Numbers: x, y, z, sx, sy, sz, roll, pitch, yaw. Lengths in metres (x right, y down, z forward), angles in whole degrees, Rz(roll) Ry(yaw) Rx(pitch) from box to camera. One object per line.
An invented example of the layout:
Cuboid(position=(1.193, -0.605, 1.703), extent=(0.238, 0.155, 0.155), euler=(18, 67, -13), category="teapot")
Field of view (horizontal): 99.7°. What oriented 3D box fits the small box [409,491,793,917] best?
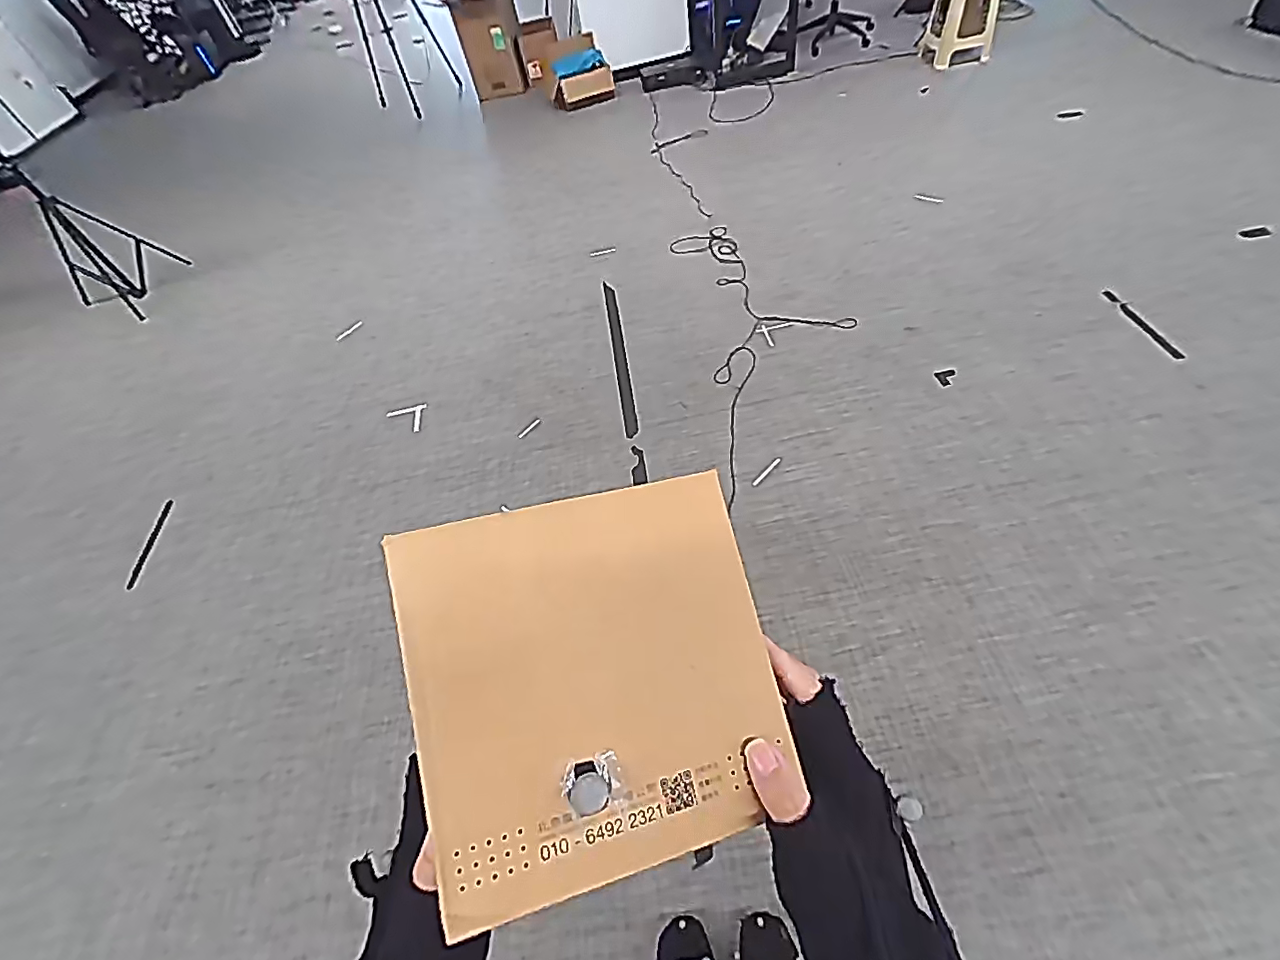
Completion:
Cuboid(position=(-0.032, 0.120, 0.341), extent=(0.168, 0.179, 0.176), euler=(-12, 78, -14), category="small box")
